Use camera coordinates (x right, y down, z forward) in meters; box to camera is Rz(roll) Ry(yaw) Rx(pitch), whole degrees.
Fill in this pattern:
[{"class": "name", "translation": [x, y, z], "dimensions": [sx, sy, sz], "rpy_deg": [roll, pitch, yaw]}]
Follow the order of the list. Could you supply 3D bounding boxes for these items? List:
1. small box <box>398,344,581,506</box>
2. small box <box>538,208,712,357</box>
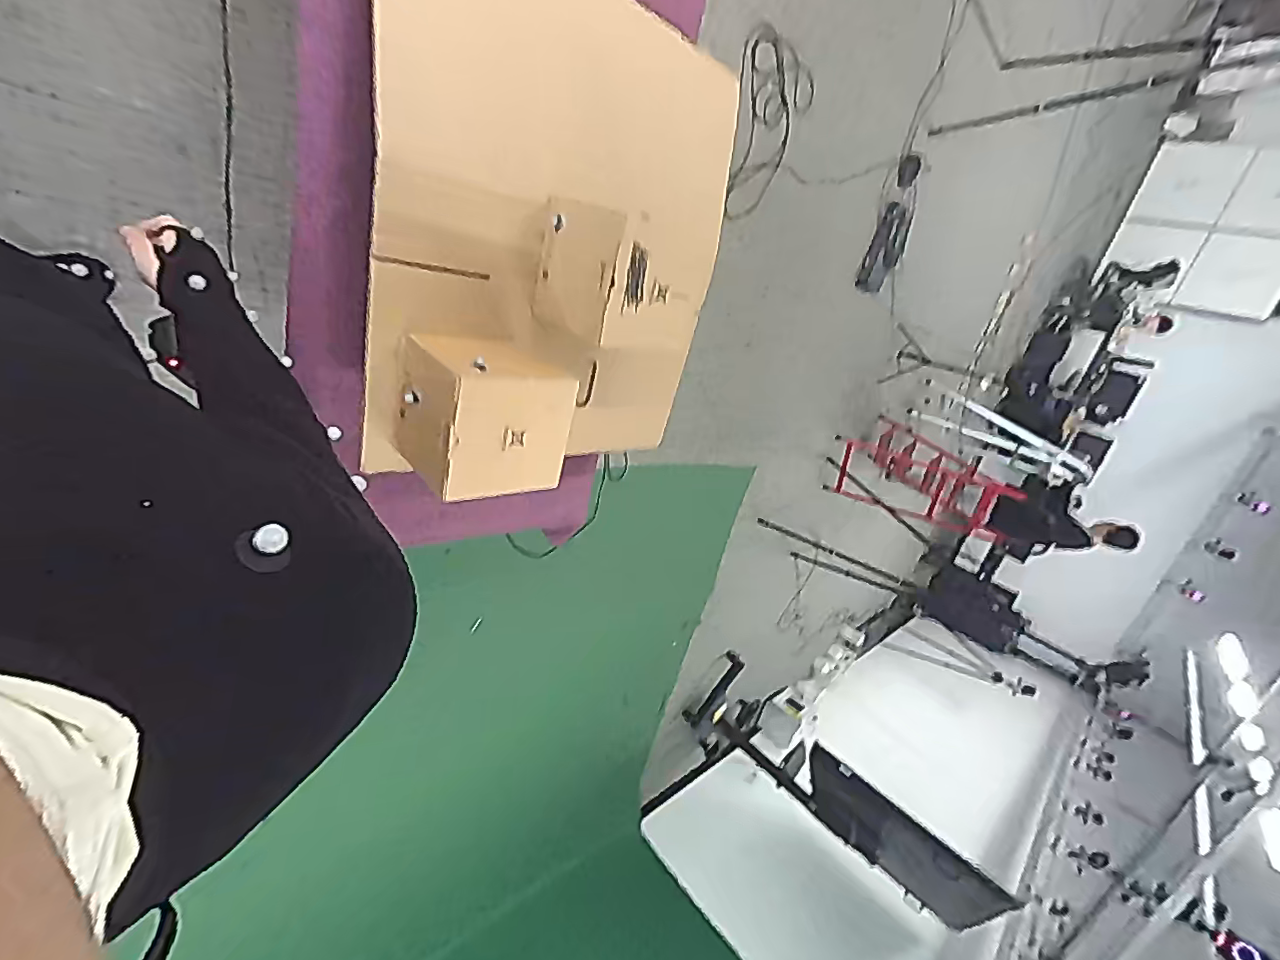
[{"class": "small box", "translation": [-0.213, -0.084, 0.755], "dimensions": [0.179, 0.176, 0.168], "rpy_deg": [-8, 123, -43]}, {"class": "small box", "translation": [-0.029, -0.290, 0.799], "dimensions": [0.179, 0.176, 0.168], "rpy_deg": [-10, 124, -44]}]
